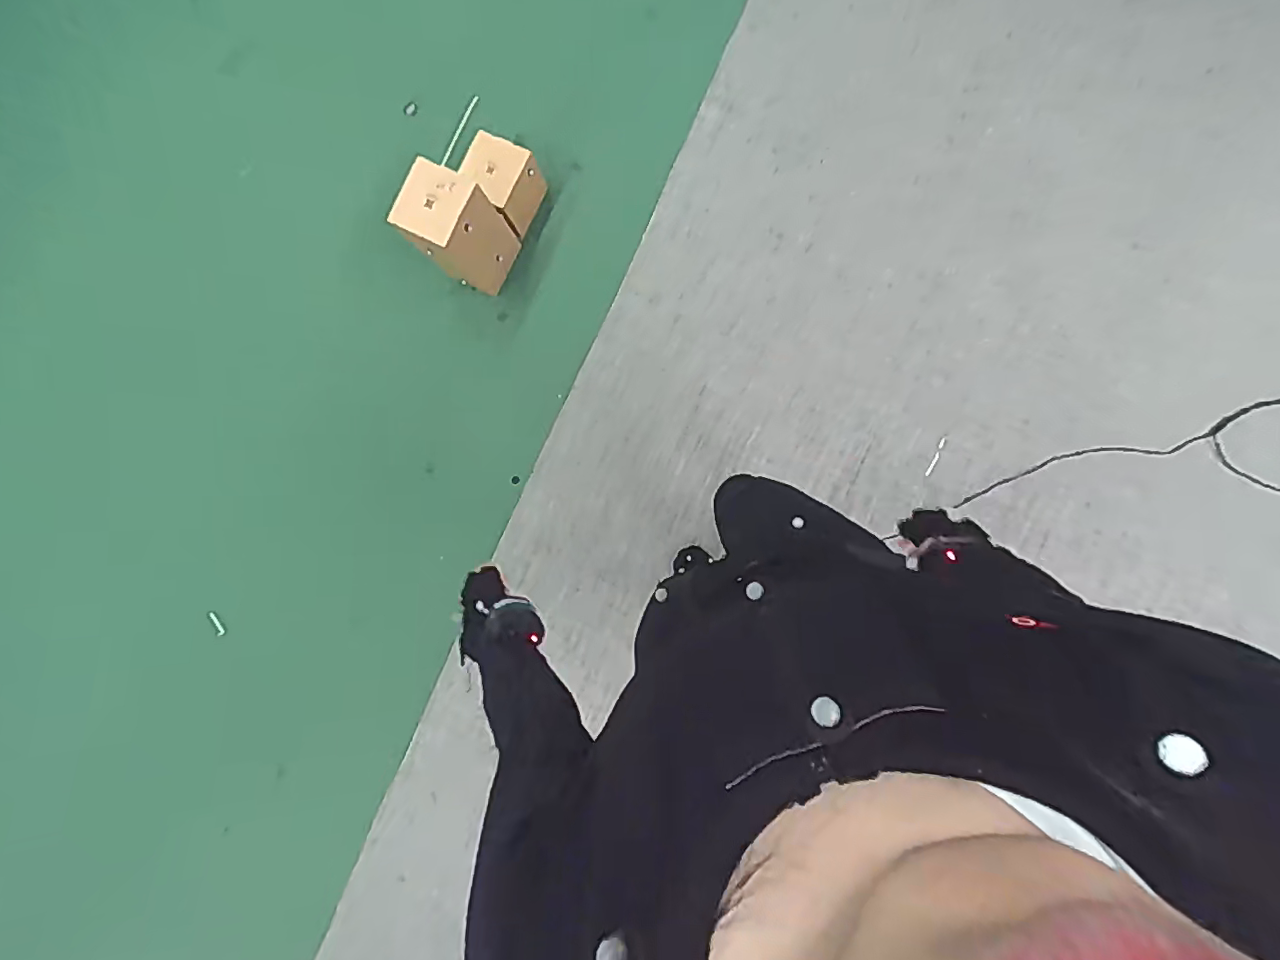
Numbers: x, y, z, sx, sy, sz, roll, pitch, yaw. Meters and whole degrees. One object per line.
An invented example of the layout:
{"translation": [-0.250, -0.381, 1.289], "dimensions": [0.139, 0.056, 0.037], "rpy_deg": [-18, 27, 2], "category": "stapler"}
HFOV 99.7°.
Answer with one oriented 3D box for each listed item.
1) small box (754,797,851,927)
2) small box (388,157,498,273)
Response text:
{"translation": [0.391, 0.927, 1.334], "dimensions": [0.168, 0.176, 0.179], "rpy_deg": [19, 89, 5], "category": "small box"}
{"translation": [-0.483, -0.654, 1.356], "dimensions": [0.168, 0.176, 0.179], "rpy_deg": [27, 90, 6], "category": "small box"}
